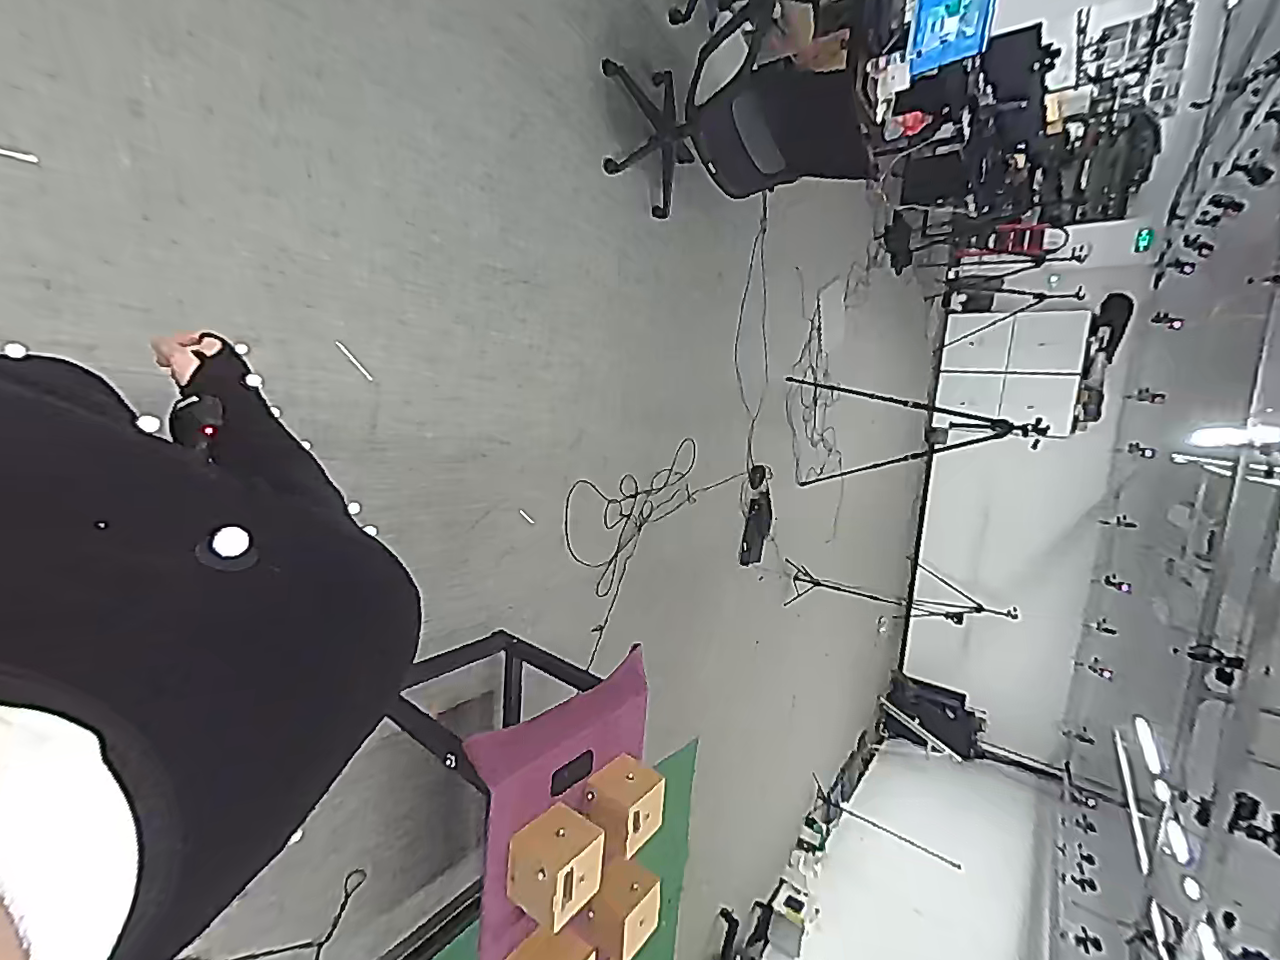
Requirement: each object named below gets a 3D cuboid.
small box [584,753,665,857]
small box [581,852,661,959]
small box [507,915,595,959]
[{"bbox_3d":[-0.048,0.948,1.595,0.179,0.176,0.168,-7,104,-53],"label":"small box"},{"bbox_3d":[-0.058,1.306,1.670,0.179,0.176,0.168,-7,103,-52],"label":"small box"},{"bbox_3d":[-0.242,1.315,1.424,0.179,0.176,0.168,-4,101,-54],"label":"small box"}]
